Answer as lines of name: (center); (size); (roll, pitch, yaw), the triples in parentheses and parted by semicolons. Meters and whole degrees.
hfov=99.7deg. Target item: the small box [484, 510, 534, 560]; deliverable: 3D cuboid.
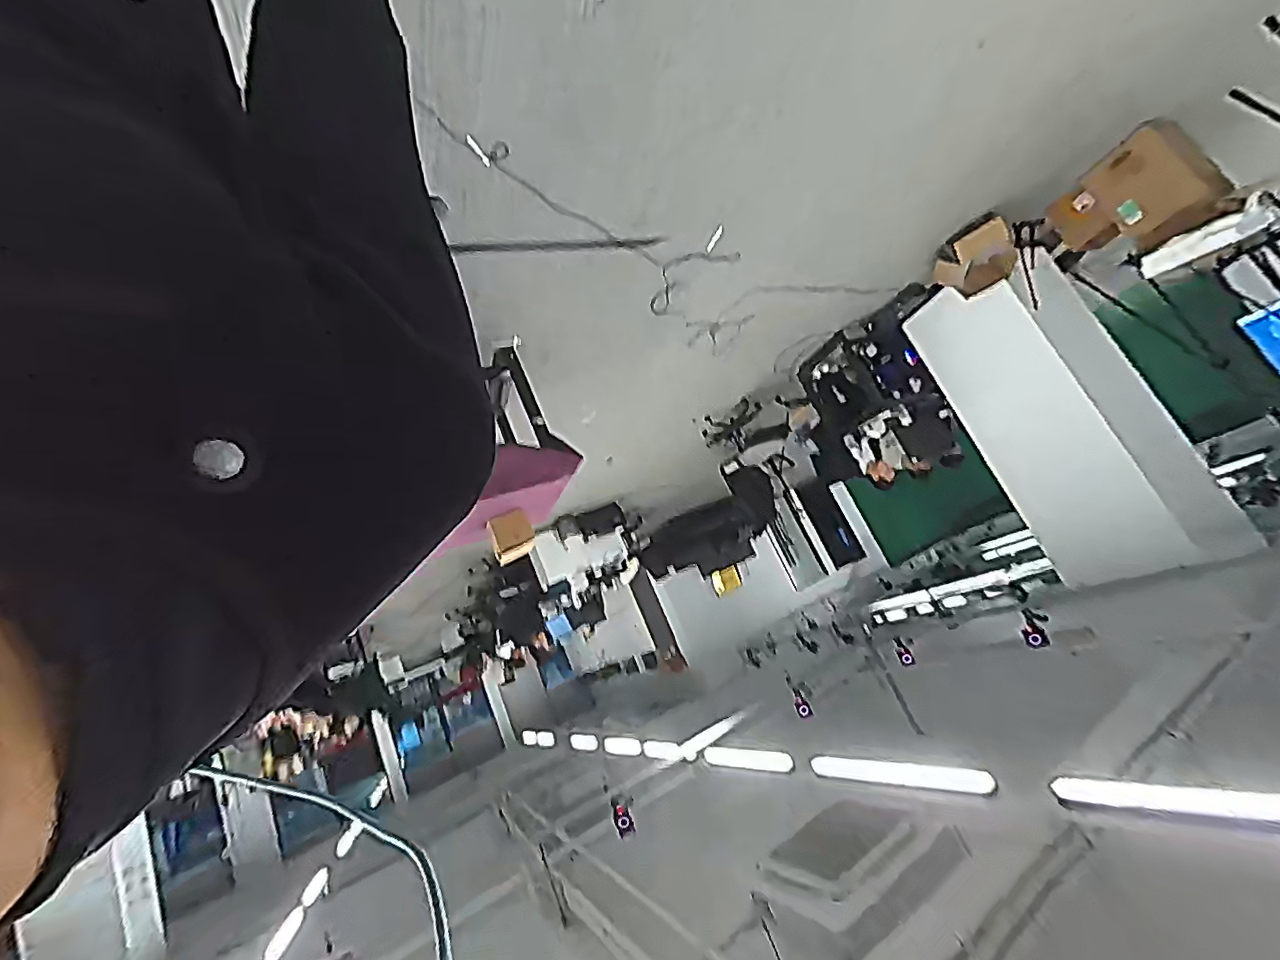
small box: (-0.624, 0.257, 2.564); (0.179, 0.176, 0.168); (-18, 164, -25)
